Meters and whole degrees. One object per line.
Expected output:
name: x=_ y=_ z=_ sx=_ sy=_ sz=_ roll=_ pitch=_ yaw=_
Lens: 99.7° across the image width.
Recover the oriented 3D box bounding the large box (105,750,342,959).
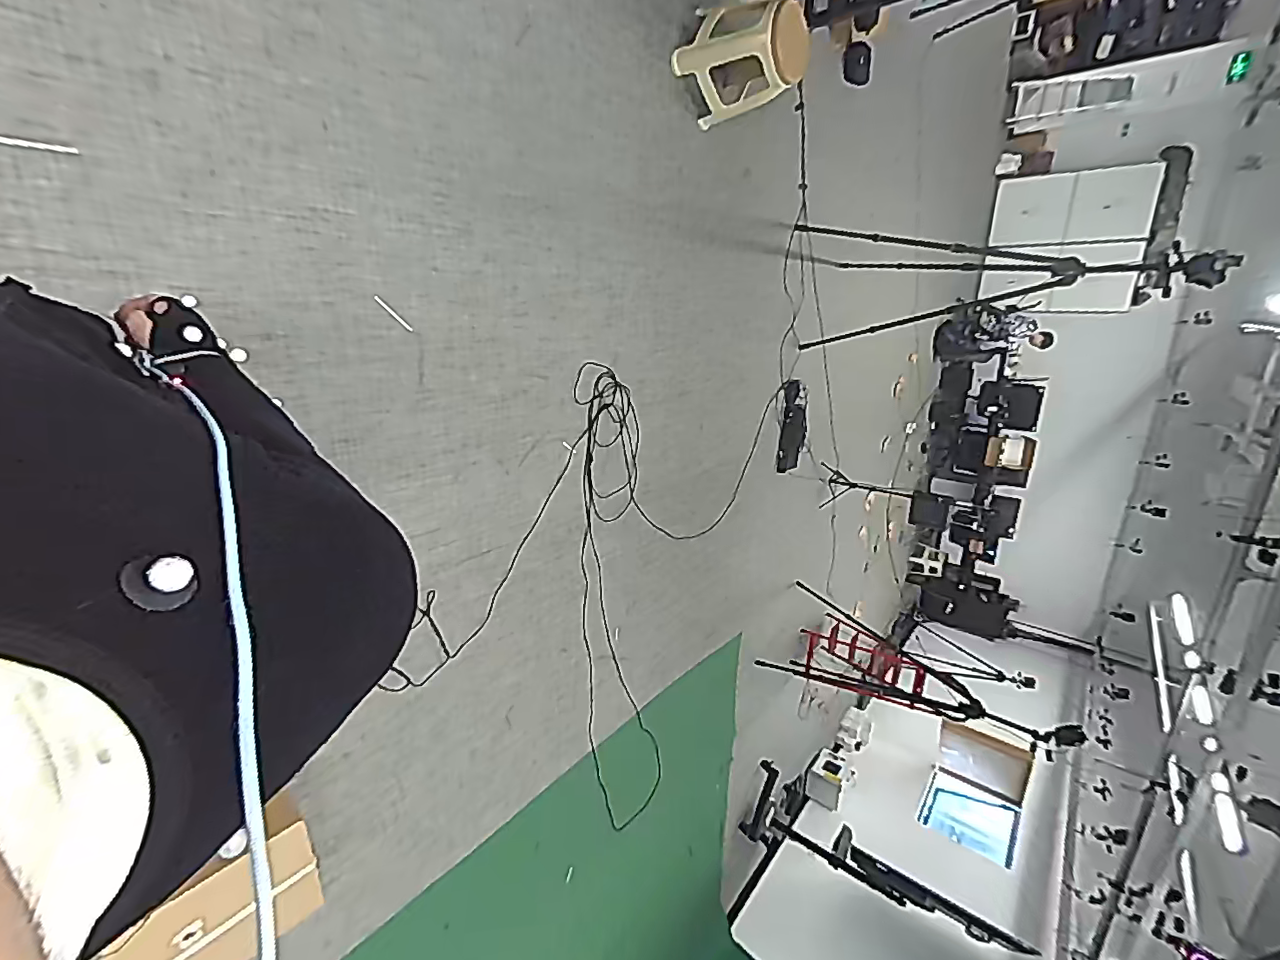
large box: x=-1.086 y=1.023 z=1.436 sx=0.408 sy=0.320 sz=0.320 roll=-21 pitch=116 yaw=-45
